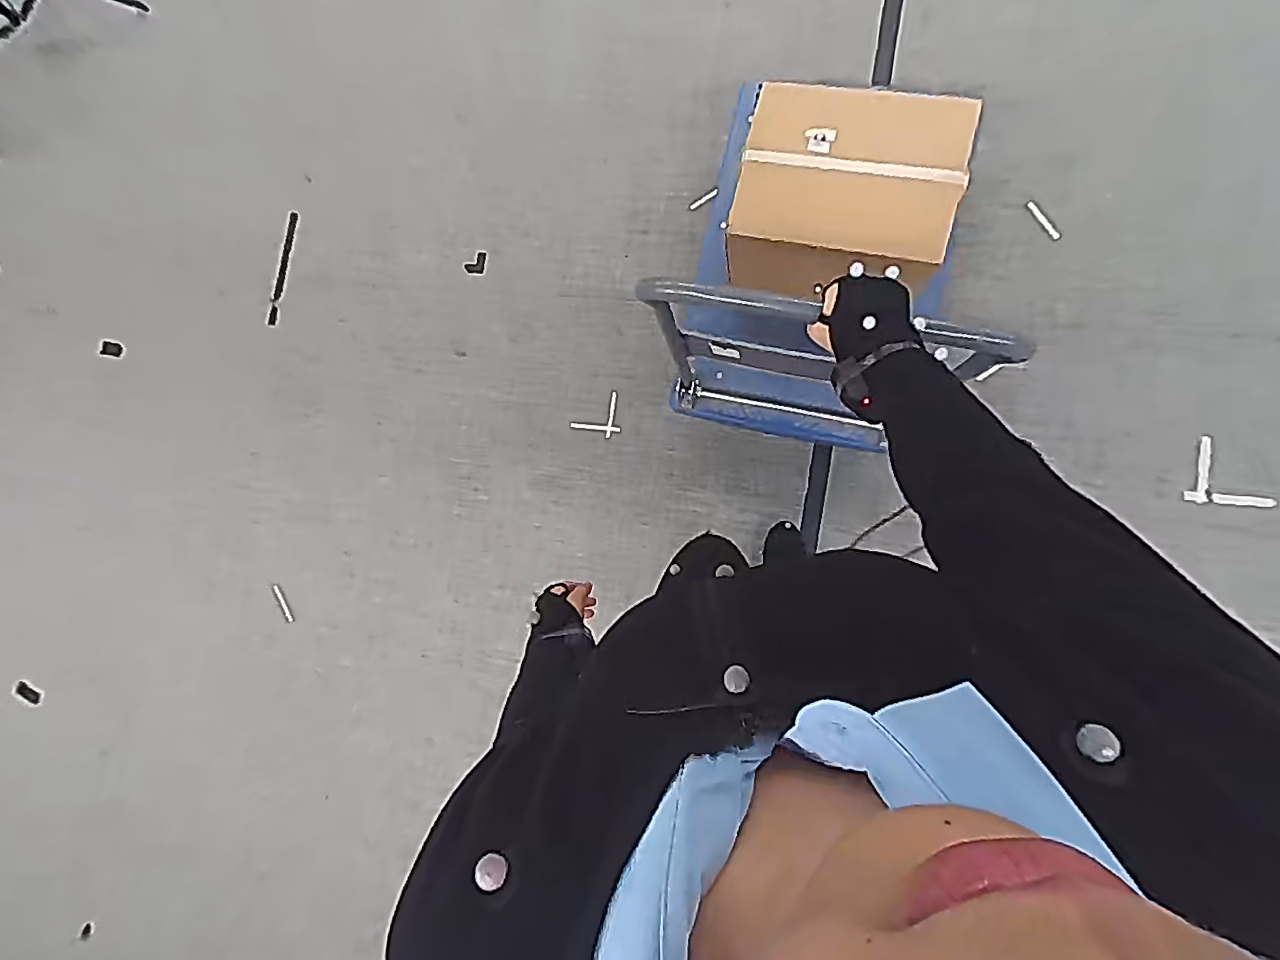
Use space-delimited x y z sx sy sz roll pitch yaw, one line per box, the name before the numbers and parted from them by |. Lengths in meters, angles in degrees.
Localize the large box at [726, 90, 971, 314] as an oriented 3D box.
large box | 0.427 -0.587 1.185 0.408 0.320 0.320 13 88 13
